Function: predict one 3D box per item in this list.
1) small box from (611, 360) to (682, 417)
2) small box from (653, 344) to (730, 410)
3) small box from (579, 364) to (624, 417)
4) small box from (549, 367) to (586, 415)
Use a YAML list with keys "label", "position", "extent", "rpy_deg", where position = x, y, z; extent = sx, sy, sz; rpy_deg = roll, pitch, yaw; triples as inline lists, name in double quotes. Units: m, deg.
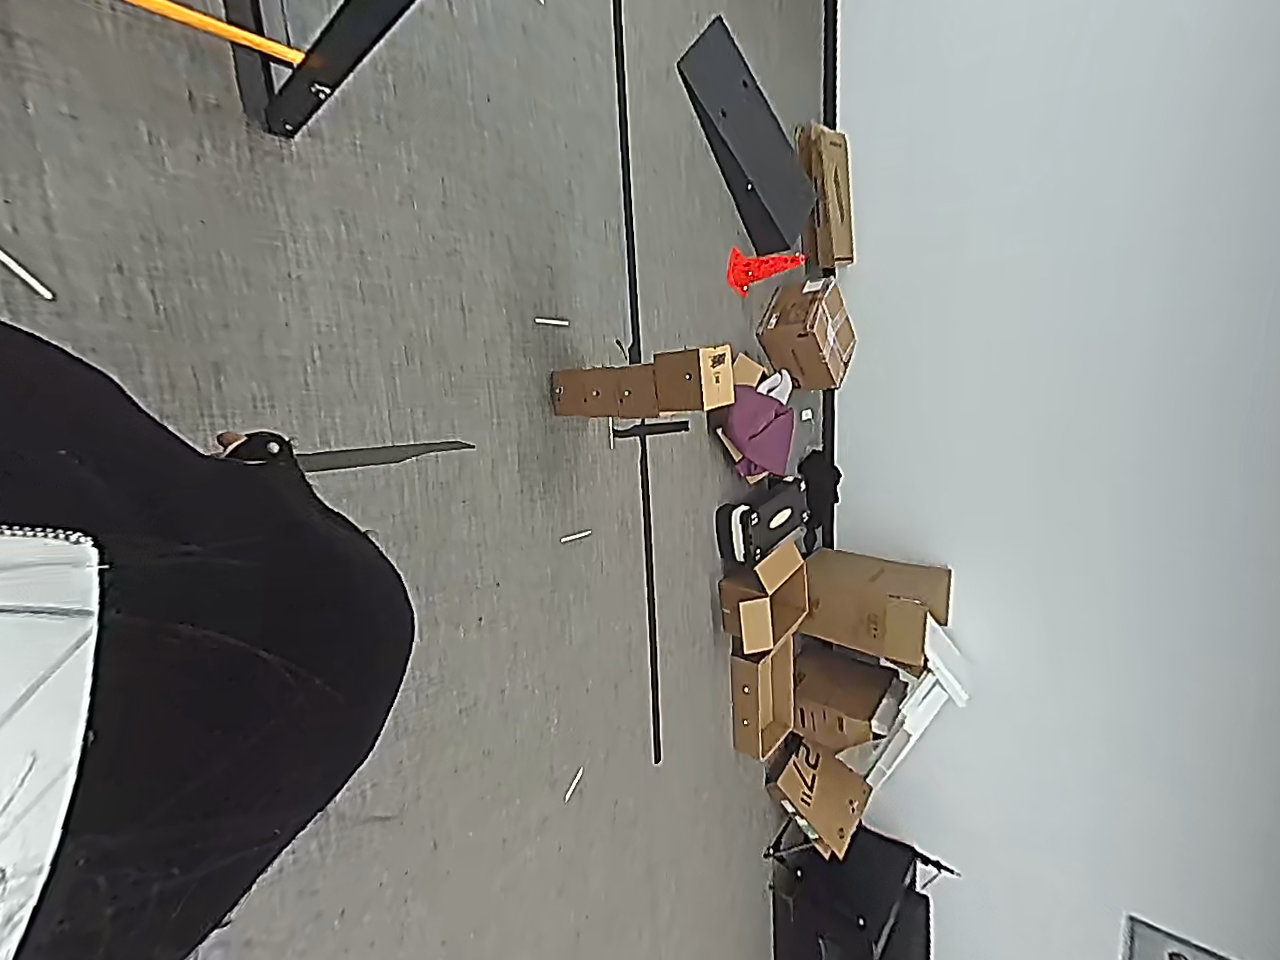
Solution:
- label: "small box"
  position: [0.030, -0.296, 1.730]
  extent: [0.179, 0.176, 0.168]
  rpy_deg: [-22, 109, -46]
- label: "small box"
  position: [0.152, -0.307, 1.619]
  extent: [0.168, 0.176, 0.179]
  rpy_deg: [-21, 109, -47]
- label: "small box"
  position: [-0.094, -0.306, 1.840]
  extent: [0.179, 0.176, 0.168]
  rpy_deg: [-15, 104, -47]
- label: "small box"
  position: [-0.207, -0.324, 1.958]
  extent: [0.179, 0.176, 0.168]
  rpy_deg: [-16, 105, -46]
